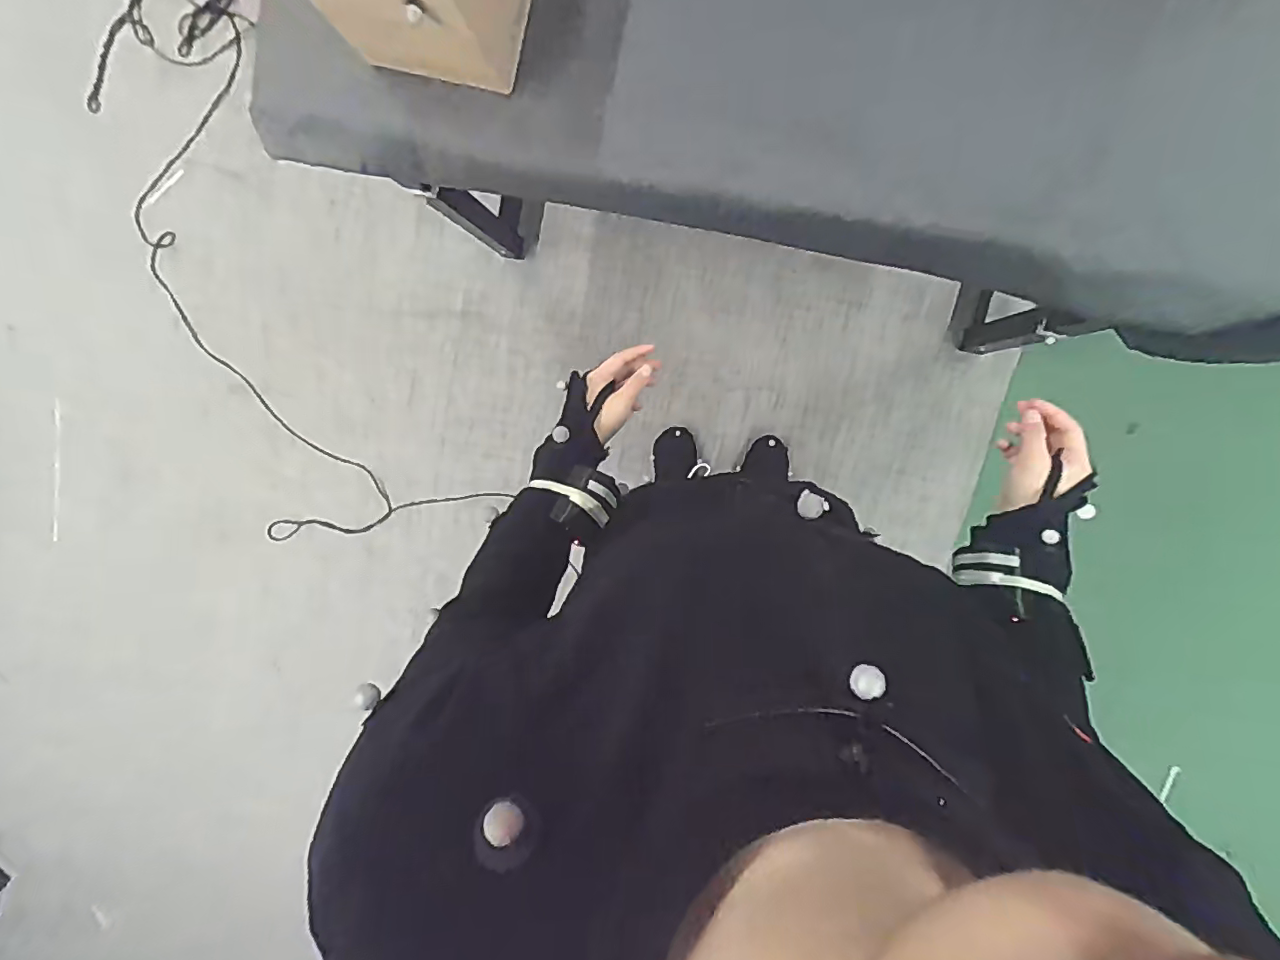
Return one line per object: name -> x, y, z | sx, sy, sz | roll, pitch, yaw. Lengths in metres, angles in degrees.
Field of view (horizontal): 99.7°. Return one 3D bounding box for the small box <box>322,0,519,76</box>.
small box -> -0.214, -0.528, 0.511 | 0.179, 0.176, 0.168 | 16, 98, 4
